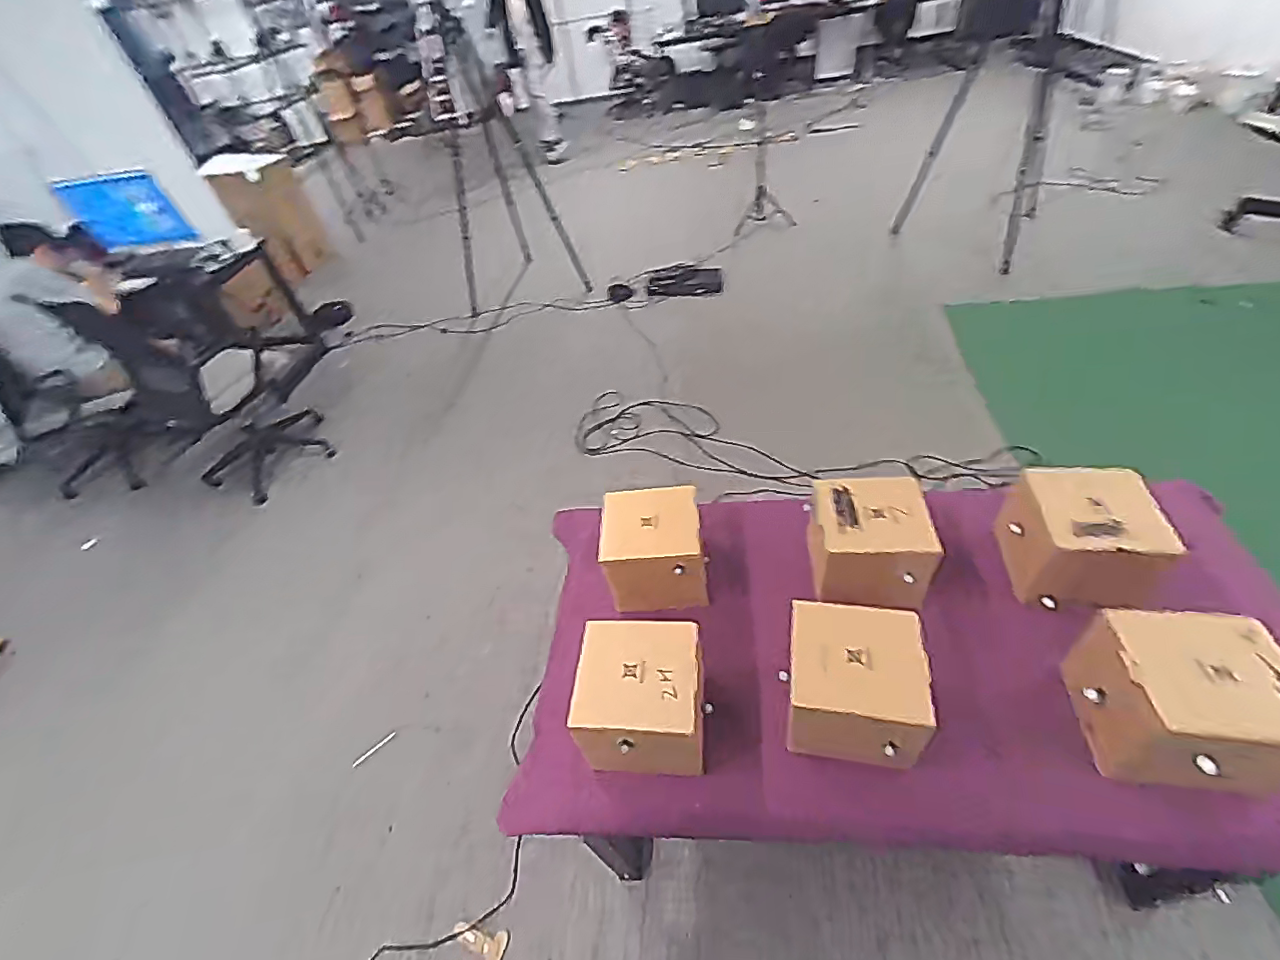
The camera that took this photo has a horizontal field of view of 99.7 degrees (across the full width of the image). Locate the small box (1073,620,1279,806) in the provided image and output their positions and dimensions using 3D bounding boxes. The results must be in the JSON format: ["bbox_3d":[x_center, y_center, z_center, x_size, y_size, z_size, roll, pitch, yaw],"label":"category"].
[{"bbox_3d":[0.713,0.305,0.711,0.179,0.176,0.168,1,44,14],"label":"small box"}]

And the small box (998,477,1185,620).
[{"bbox_3d":[0.733,0.115,0.904,0.168,0.176,0.179,2,45,14],"label":"small box"}]

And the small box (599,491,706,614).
[{"bbox_3d":[0.030,0.141,1.024,0.179,0.176,0.168,-4,44,6],"label":"small box"}]

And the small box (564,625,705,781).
[{"bbox_3d":[0.003,0.338,0.822,0.179,0.176,0.168,-1,44,10],"label":"small box"}]

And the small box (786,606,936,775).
[{"bbox_3d":[0.311,0.310,0.793,0.179,0.176,0.168,3,44,16],"label":"small box"}]
